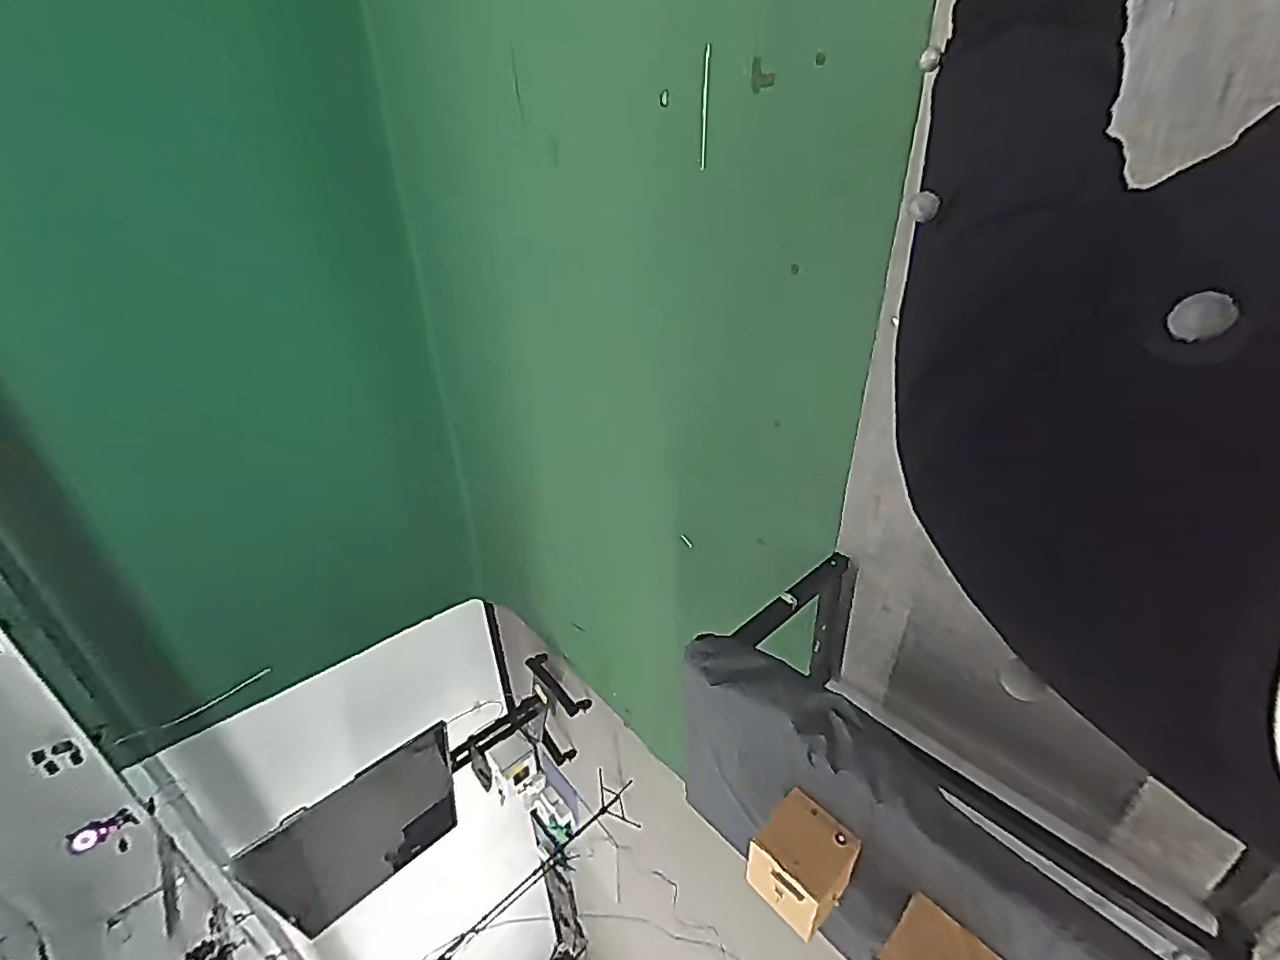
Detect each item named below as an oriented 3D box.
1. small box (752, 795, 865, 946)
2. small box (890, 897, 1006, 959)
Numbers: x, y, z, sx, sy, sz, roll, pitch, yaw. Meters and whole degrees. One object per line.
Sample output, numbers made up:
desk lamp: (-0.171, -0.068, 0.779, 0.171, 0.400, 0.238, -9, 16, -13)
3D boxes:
small box: (0.368, 0.839, 1.180, 0.168, 0.176, 0.179, 27, 131, 41)
small box: (0.561, 0.933, 0.991, 0.179, 0.176, 0.168, 24, 127, 42)
